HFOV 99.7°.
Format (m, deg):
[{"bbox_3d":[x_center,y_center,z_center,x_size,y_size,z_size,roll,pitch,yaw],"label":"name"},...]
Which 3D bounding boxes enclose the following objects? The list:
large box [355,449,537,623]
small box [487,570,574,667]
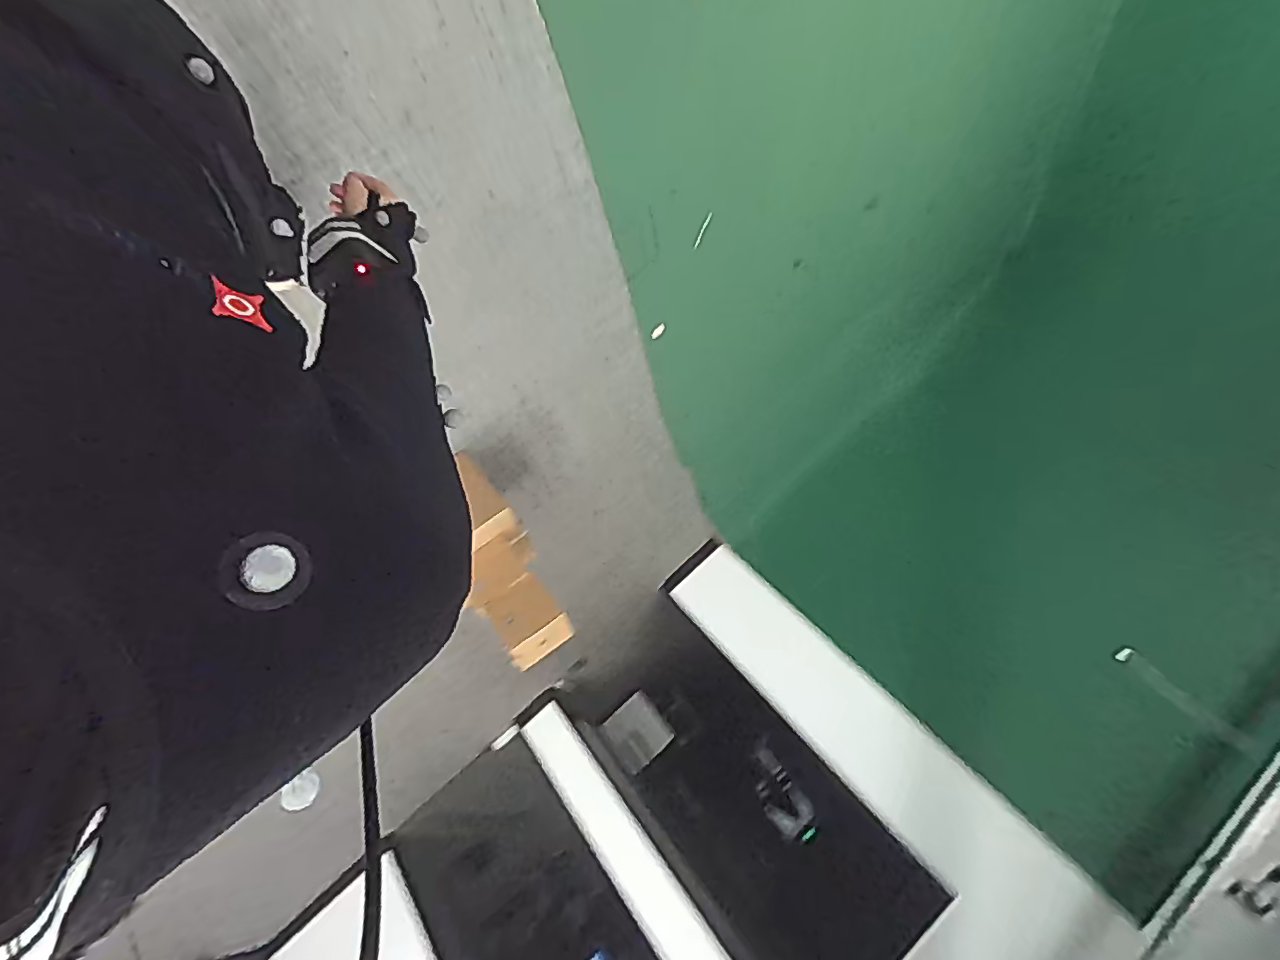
[{"bbox_3d":[-0.612,0.176,1.743,0.408,0.320,0.320,-35,146,-15],"label":"large box"},{"bbox_3d":[-0.319,0.397,1.558,0.179,0.176,0.168,-34,148,-19],"label":"small box"}]
